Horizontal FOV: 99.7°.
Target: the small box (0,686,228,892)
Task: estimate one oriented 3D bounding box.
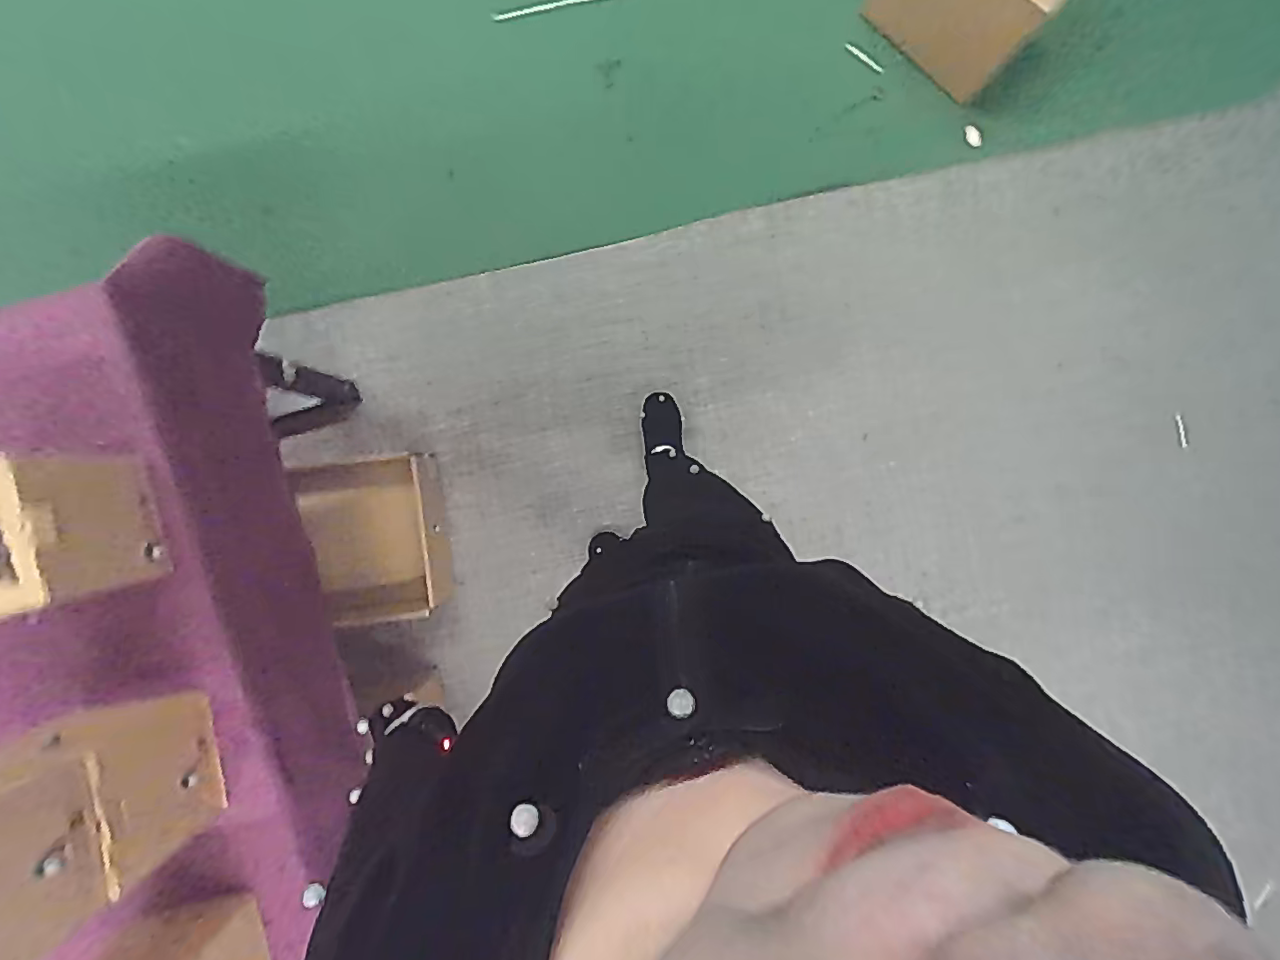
[{"bbox_3d":[-0.666,0.377,0.668,0.179,0.176,0.168,-9,92,-3],"label":"small box"}]

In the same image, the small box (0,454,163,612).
[{"bbox_3d":[-0.732,0.064,0.653,0.179,0.176,0.168,-14,92,-1],"label":"small box"}]

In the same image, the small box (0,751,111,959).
[{"bbox_3d":[-0.666,0.382,0.503,0.179,0.176,0.168,-8,93,-3],"label":"small box"}]

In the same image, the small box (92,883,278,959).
[{"bbox_3d":[-0.590,0.665,0.678,0.168,0.176,0.179,-14,93,-3],"label":"small box"}]
